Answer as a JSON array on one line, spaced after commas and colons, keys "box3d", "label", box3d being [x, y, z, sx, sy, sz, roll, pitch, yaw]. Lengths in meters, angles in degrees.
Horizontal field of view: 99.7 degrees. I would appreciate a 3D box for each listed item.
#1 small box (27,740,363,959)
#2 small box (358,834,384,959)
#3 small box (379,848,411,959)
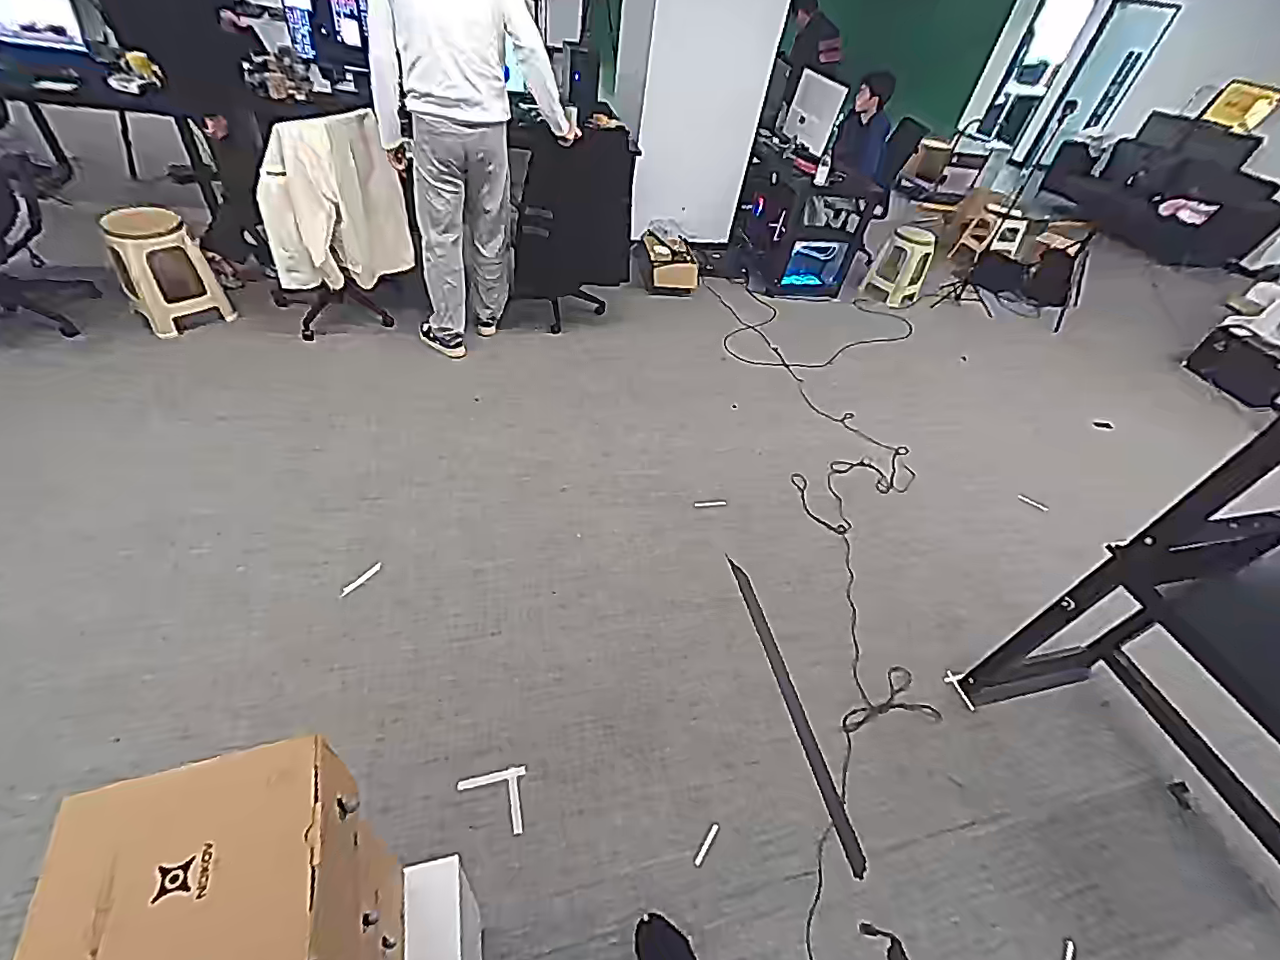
[{"box3d": [-0.339, 0.350, 0.449, 0.179, 0.176, 0.168, -10, 48, -20], "label": "small box"}, {"box3d": [-0.369, 0.474, 0.551, 0.179, 0.176, 0.168, -6, 48, -16], "label": "small box"}, {"box3d": [-0.392, 0.589, 0.667, 0.179, 0.176, 0.168, -7, 48, -17], "label": "small box"}]
